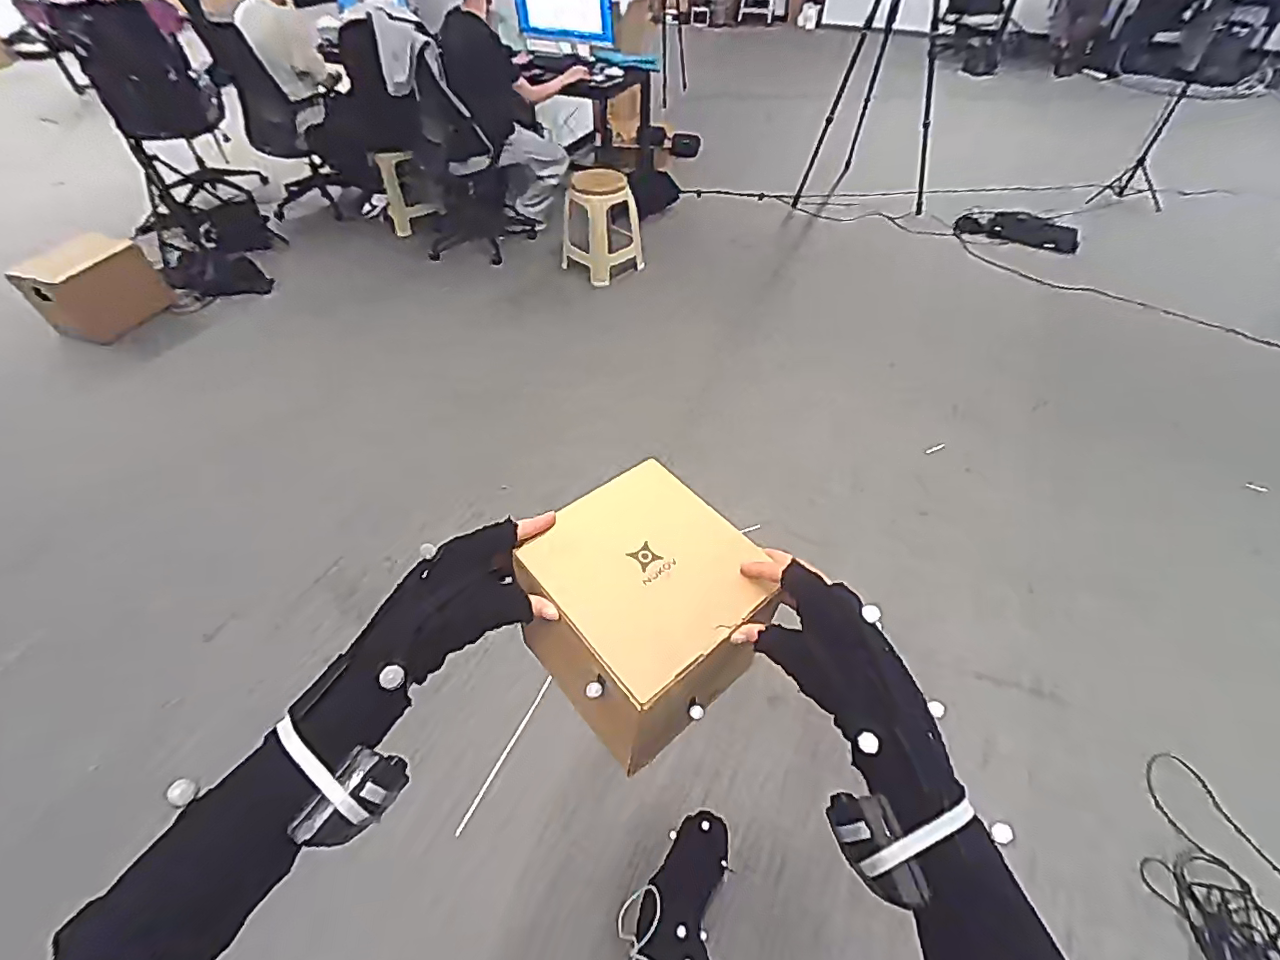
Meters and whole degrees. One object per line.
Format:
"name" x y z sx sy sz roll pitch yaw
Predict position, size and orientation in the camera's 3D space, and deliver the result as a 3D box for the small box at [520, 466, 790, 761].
"small box" 0.002 0.124 0.512 0.168 0.176 0.179 -28 58 -30
